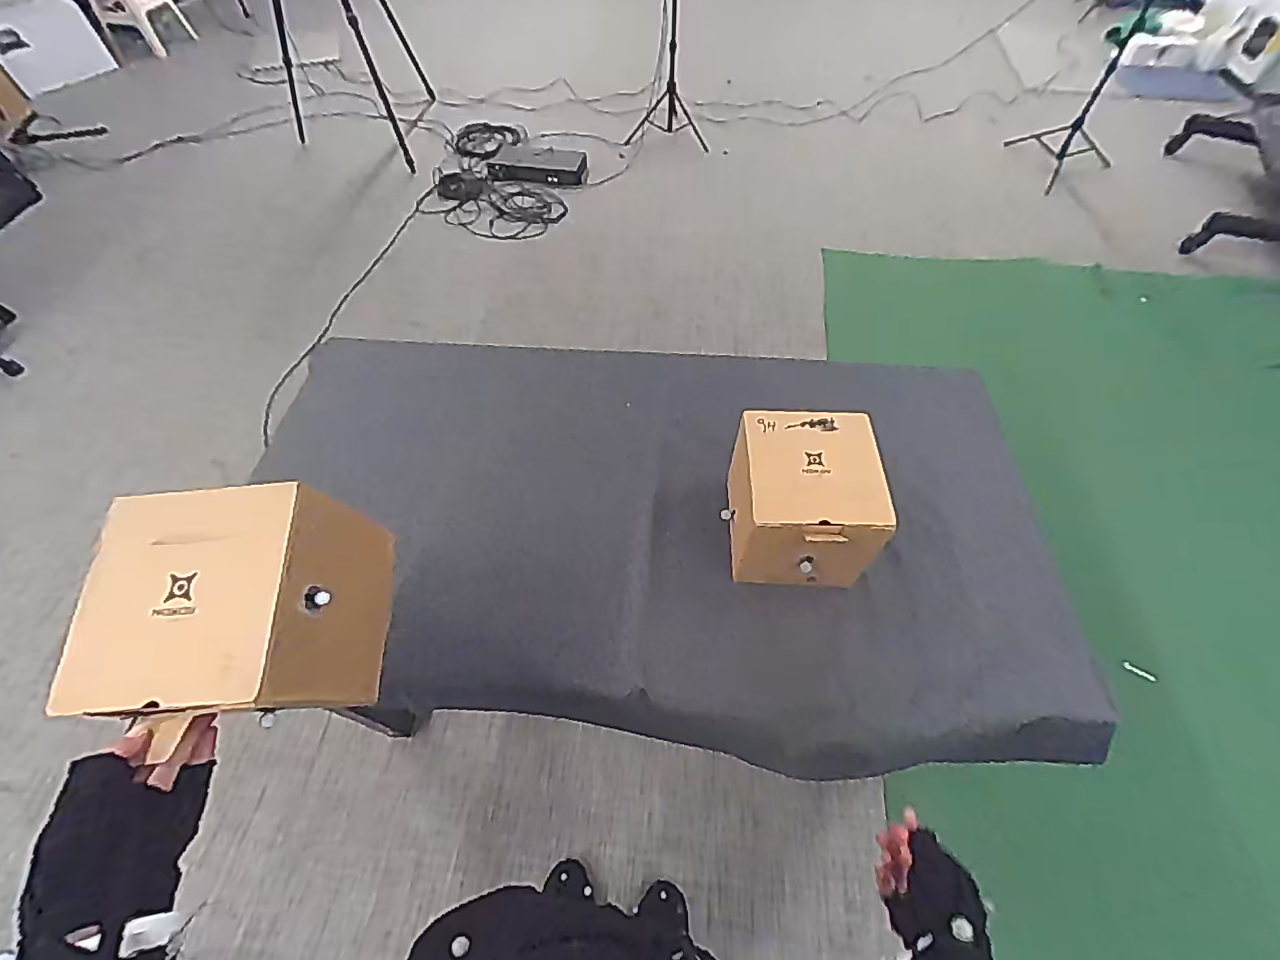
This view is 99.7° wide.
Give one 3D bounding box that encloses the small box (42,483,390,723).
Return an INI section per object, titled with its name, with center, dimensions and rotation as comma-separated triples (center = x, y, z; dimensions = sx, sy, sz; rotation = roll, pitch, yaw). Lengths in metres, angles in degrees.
[small box]
center = -0.351, 0.118, 0.492
dimensions = 0.168, 0.176, 0.179
rotation = -5, 67, 2
